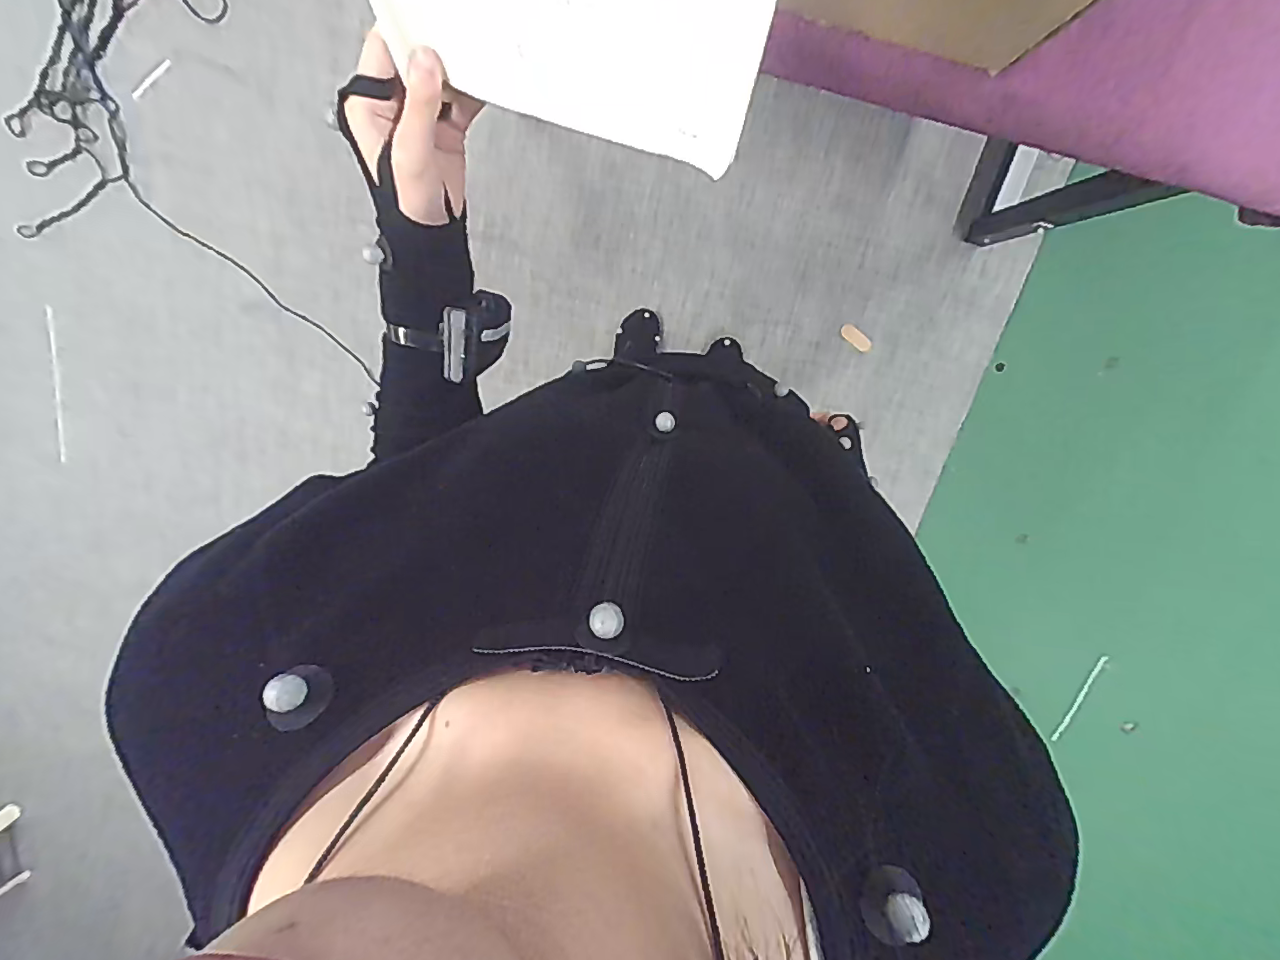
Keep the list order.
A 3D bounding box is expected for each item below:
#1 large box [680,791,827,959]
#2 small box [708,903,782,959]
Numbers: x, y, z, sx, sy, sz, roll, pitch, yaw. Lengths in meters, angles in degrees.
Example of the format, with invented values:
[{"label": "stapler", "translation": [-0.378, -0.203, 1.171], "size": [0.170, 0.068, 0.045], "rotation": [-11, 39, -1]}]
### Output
[{"label": "large box", "translation": [0.329, 1.225, 1.692], "size": [0.408, 0.320, 0.320], "rotation": [1, 106, 3]}, {"label": "small box", "translation": [0.283, 1.289, 1.458], "size": [0.179, 0.176, 0.168], "rotation": [5, 104, 4]}]
